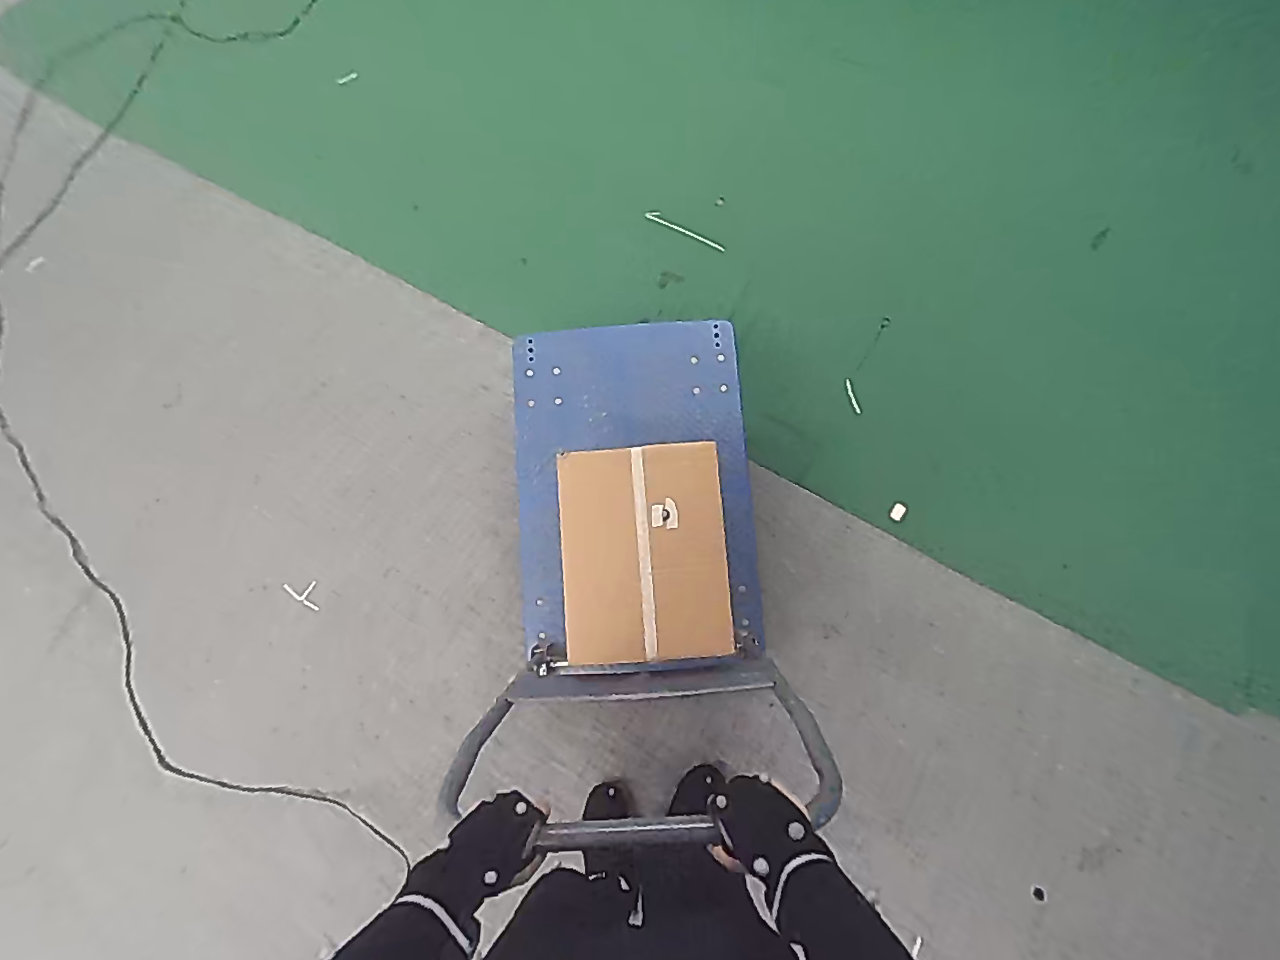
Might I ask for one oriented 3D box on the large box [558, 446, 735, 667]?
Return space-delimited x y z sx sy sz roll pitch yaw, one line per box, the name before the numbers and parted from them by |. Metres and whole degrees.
large box | 0.013 0.164 1.179 0.320 0.320 0.408 -5 81 1
